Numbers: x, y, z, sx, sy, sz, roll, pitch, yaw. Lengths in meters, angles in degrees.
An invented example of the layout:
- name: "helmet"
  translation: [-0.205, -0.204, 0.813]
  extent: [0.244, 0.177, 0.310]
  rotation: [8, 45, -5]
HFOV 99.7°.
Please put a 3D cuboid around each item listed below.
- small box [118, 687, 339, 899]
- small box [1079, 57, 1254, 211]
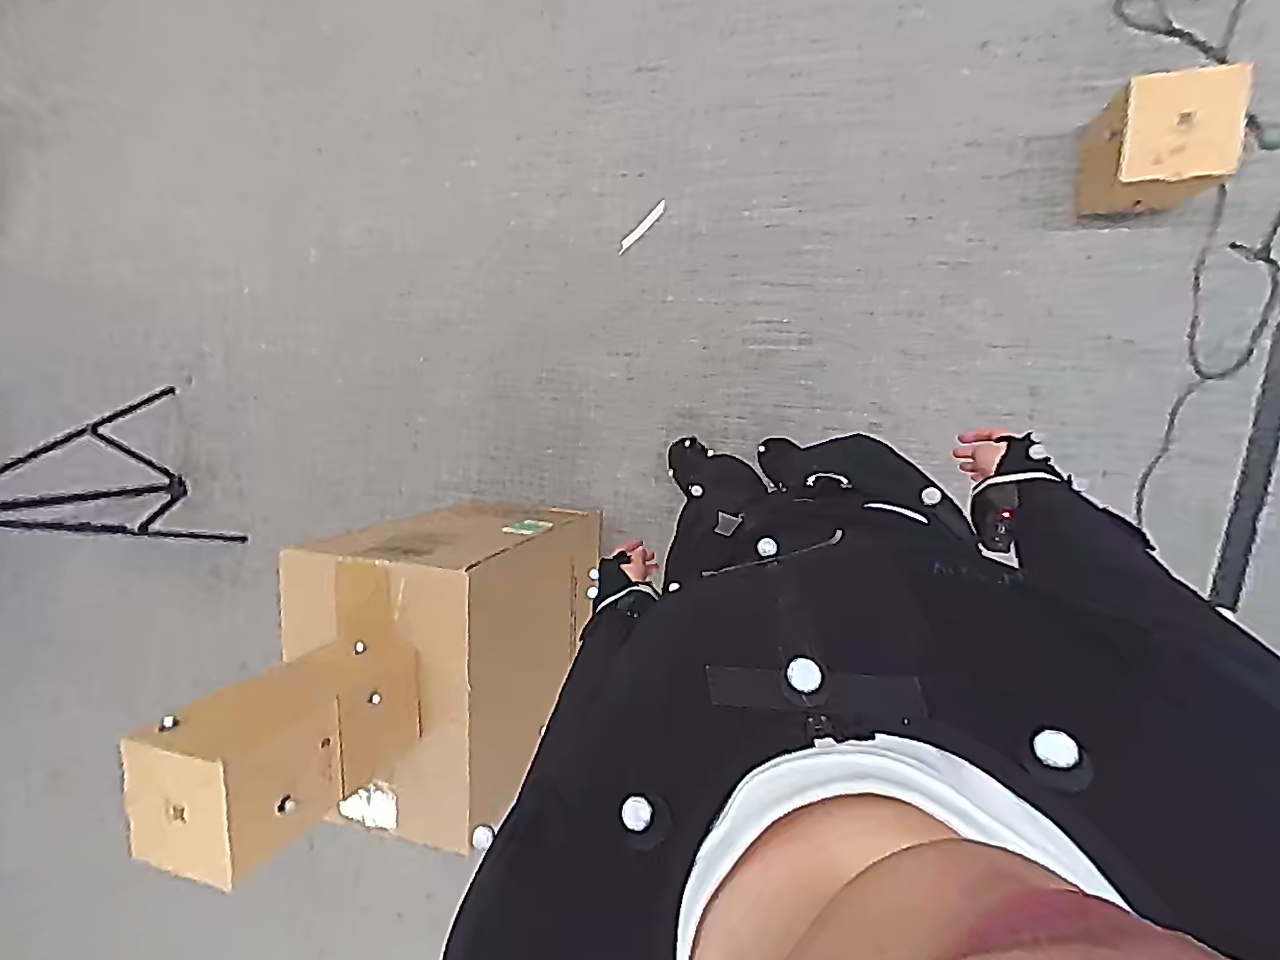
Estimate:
- name: "small box"
  translation: [-0.529, 0.396, 0.719]
  extent: [0.179, 0.176, 0.168]
  rotation: [2, 97, 17]
- name: "small box"
  translation: [0.941, -0.616, 0.986]
  extent: [0.168, 0.176, 0.179]
  rotation: [4, 98, 17]
